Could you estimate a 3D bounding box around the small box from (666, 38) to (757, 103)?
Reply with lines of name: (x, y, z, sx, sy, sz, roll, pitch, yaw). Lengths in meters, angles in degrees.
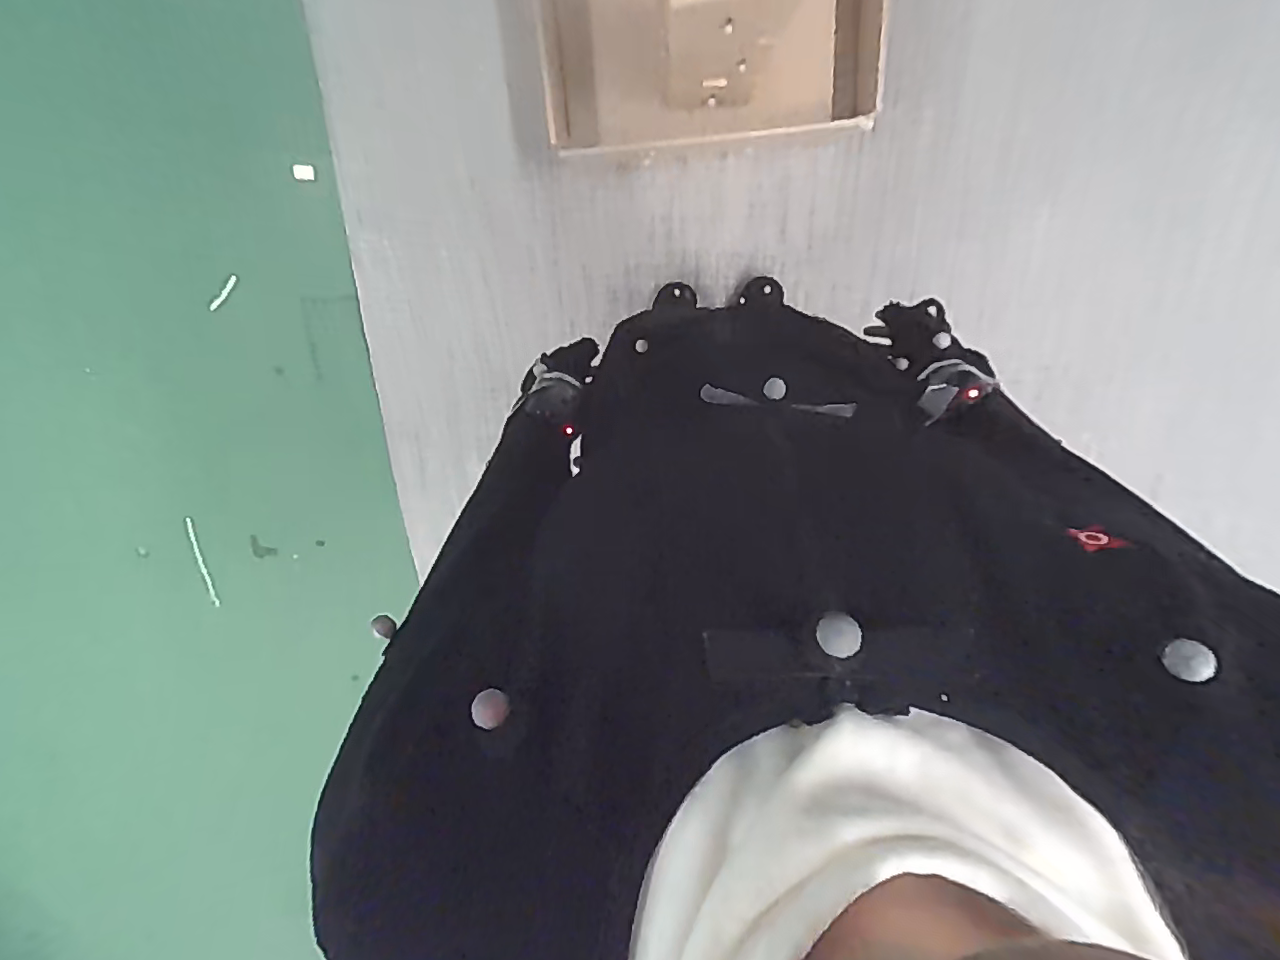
small box: (0.134, -0.827, 1.013, 0.168, 0.176, 0.179, 0, 112, 4)
